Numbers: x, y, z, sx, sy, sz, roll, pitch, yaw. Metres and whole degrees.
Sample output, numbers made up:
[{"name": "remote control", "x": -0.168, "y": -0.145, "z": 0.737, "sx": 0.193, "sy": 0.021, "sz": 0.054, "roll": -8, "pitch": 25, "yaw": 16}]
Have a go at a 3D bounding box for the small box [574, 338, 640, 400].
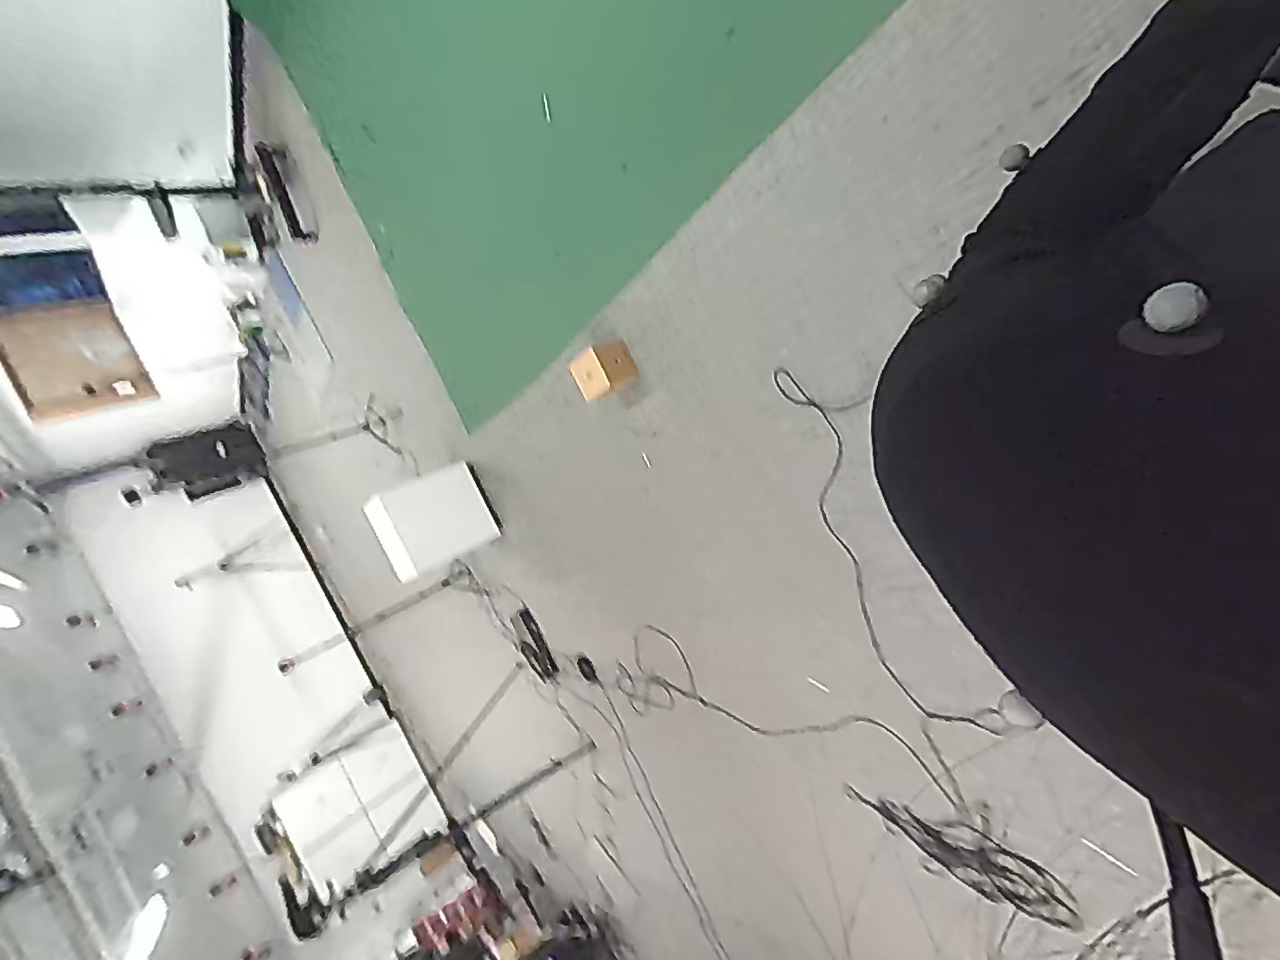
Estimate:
[{"name": "small box", "x": -0.122, "y": -0.440, "z": 2.123, "sx": 0.179, "sy": 0.176, "sz": 0.168, "roll": -26, "pitch": 90, "yaw": 50}]
